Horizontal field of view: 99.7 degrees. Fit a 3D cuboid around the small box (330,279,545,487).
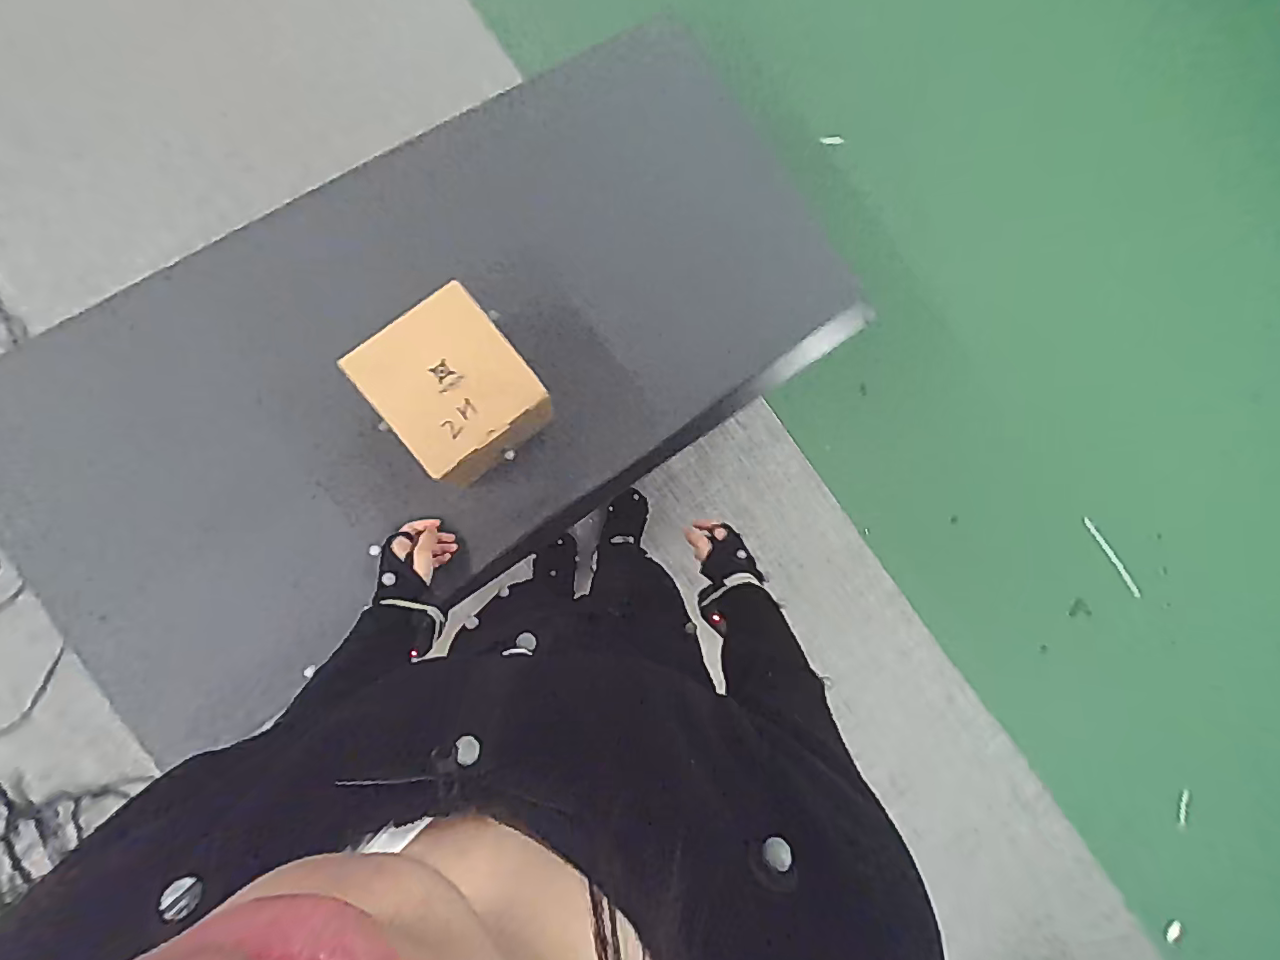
[{"bbox_3d":[-0.238,-0.107,0.683,0.168,0.176,0.179,-40,91,-9],"label":"small box"}]
